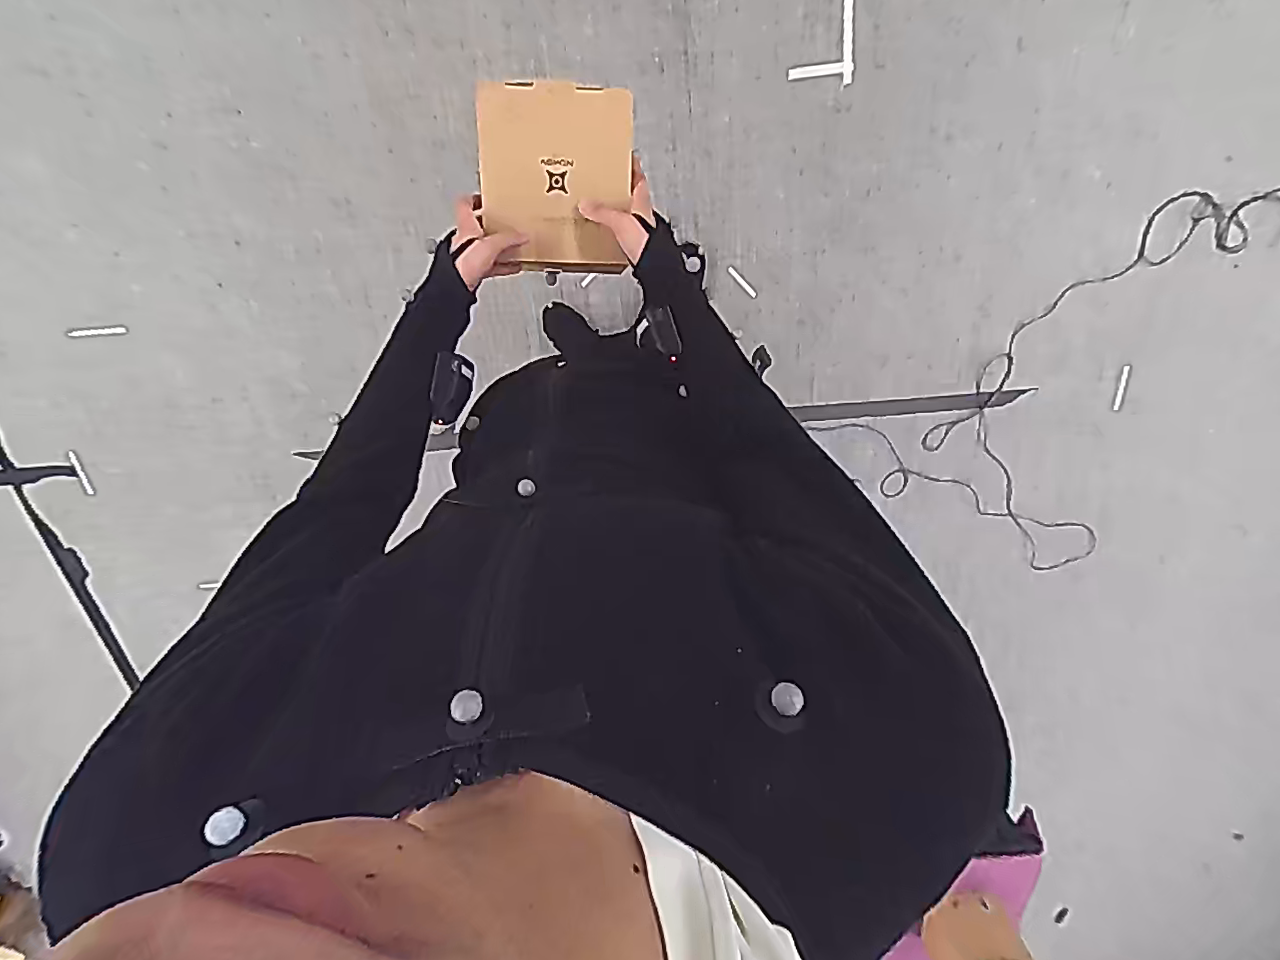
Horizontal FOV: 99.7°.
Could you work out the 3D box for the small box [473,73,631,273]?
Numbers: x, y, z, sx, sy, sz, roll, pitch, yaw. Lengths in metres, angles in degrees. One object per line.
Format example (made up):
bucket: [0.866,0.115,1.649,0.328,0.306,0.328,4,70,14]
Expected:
small box: [-0.101,-0.356,0.660,0.168,0.176,0.179,0,107,-5]

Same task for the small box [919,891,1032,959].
small box: [0.794,1.124,1.297,0.168,0.176,0.179,-7,114,1]
